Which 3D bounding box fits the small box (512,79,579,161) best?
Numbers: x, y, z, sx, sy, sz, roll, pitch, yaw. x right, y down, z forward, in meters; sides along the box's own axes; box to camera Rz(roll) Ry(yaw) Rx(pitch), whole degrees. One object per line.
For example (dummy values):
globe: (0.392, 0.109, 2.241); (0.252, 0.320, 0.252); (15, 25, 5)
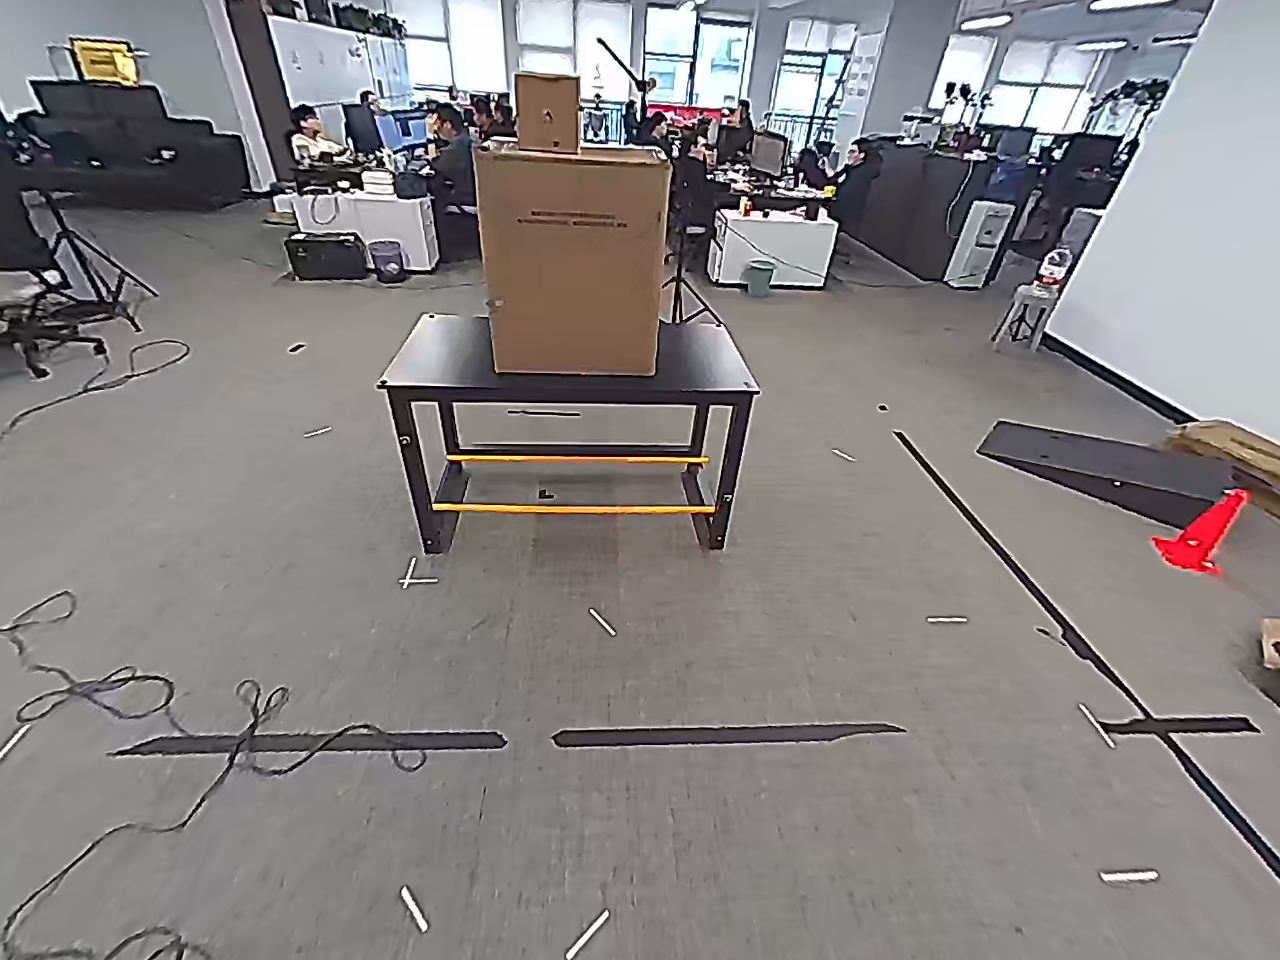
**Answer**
small box: (-0.254, -0.991, 1.491); (0.168, 0.176, 0.179); (1, 39, -5)
